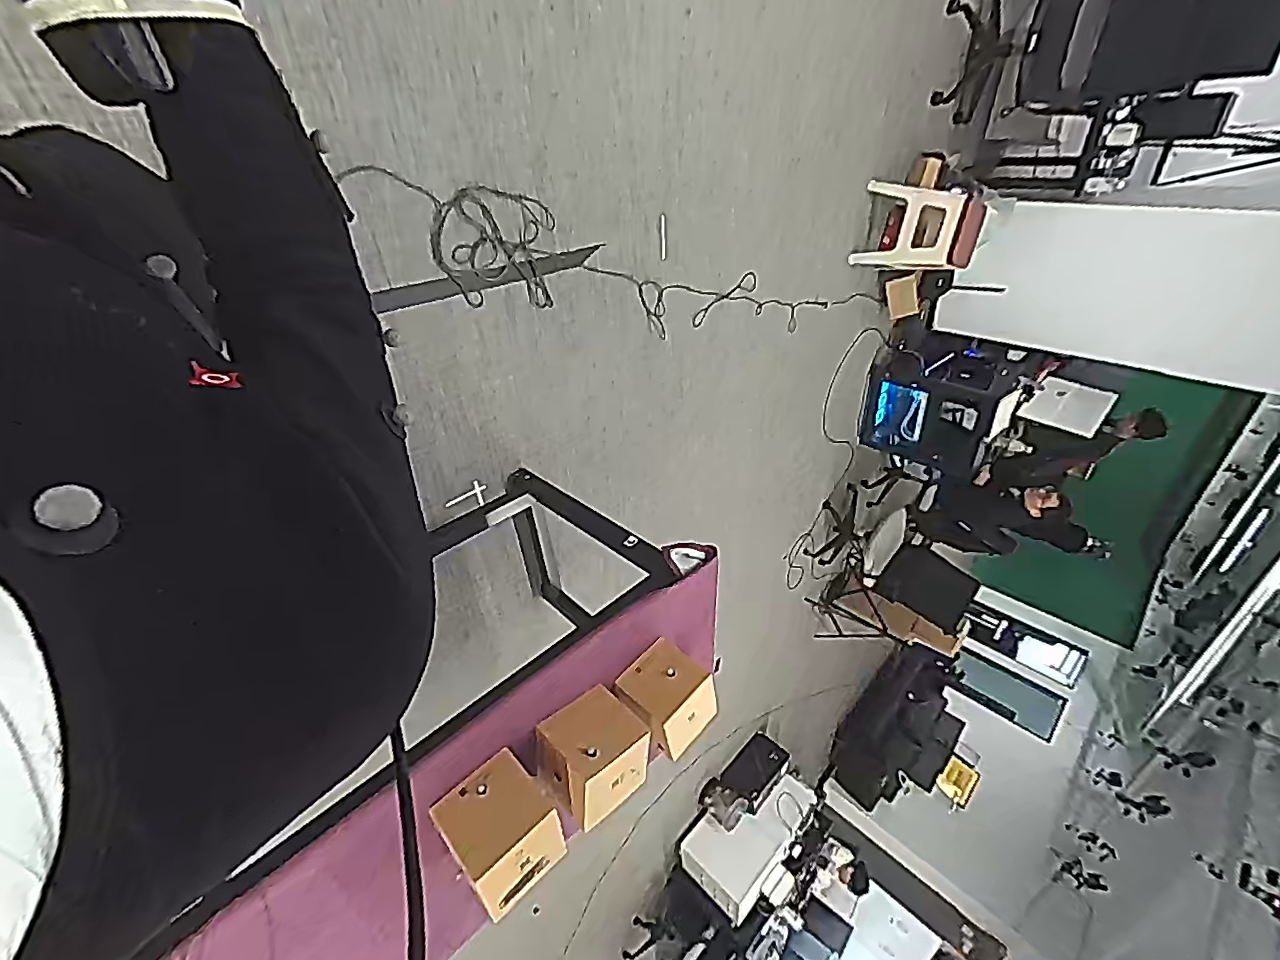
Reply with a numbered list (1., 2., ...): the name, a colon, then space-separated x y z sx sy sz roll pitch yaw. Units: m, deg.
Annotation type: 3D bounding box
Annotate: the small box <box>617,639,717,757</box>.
1. small box: 0.064 0.512 1.297 0.168 0.176 0.179 -37 134 -29
